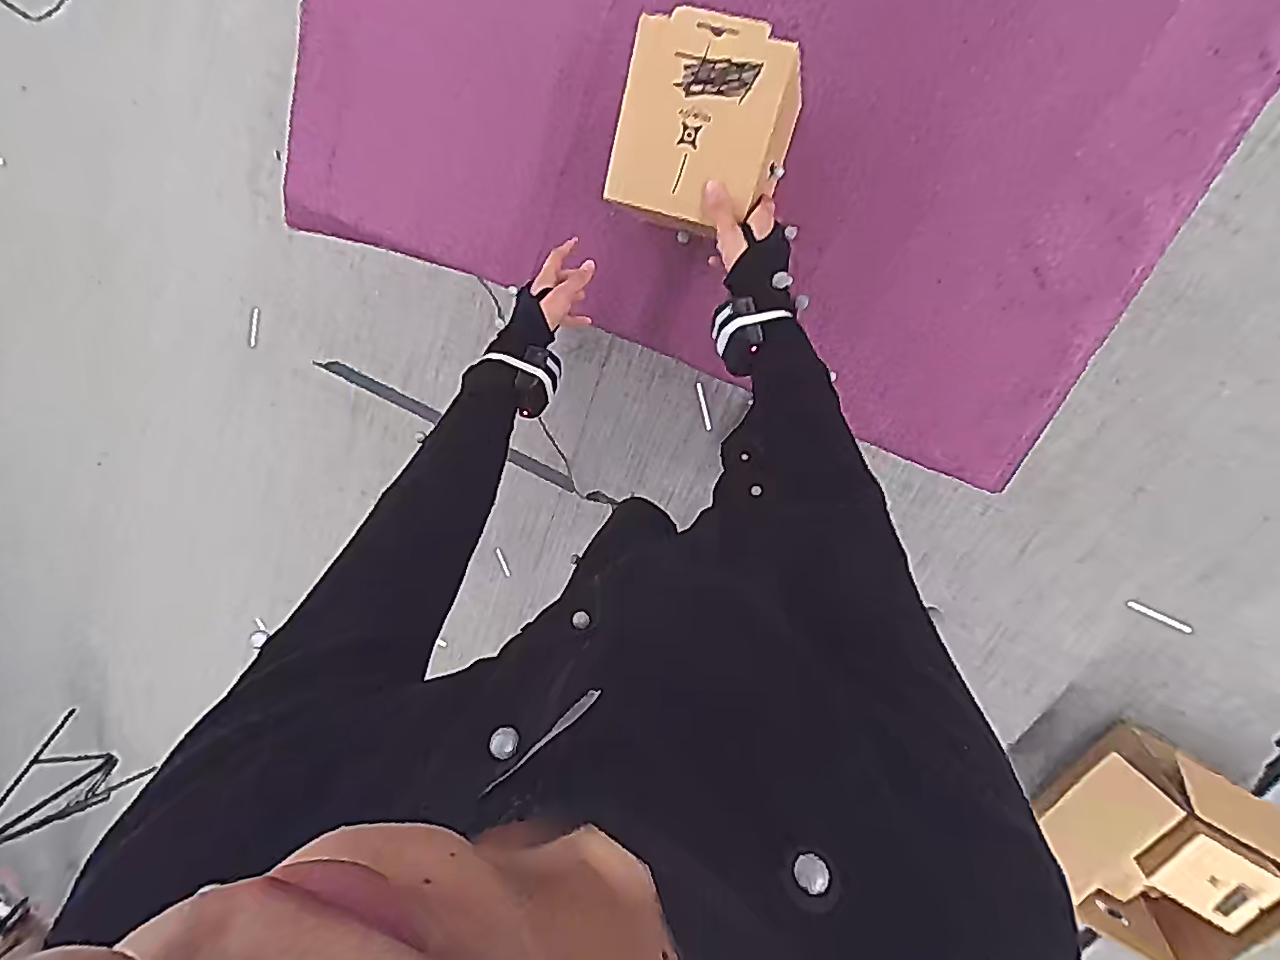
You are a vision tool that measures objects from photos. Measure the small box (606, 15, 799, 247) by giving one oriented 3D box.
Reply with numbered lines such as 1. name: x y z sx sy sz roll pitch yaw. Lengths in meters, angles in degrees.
1. small box: 0.079 -0.396 0.644 0.168 0.176 0.179 20 112 11
